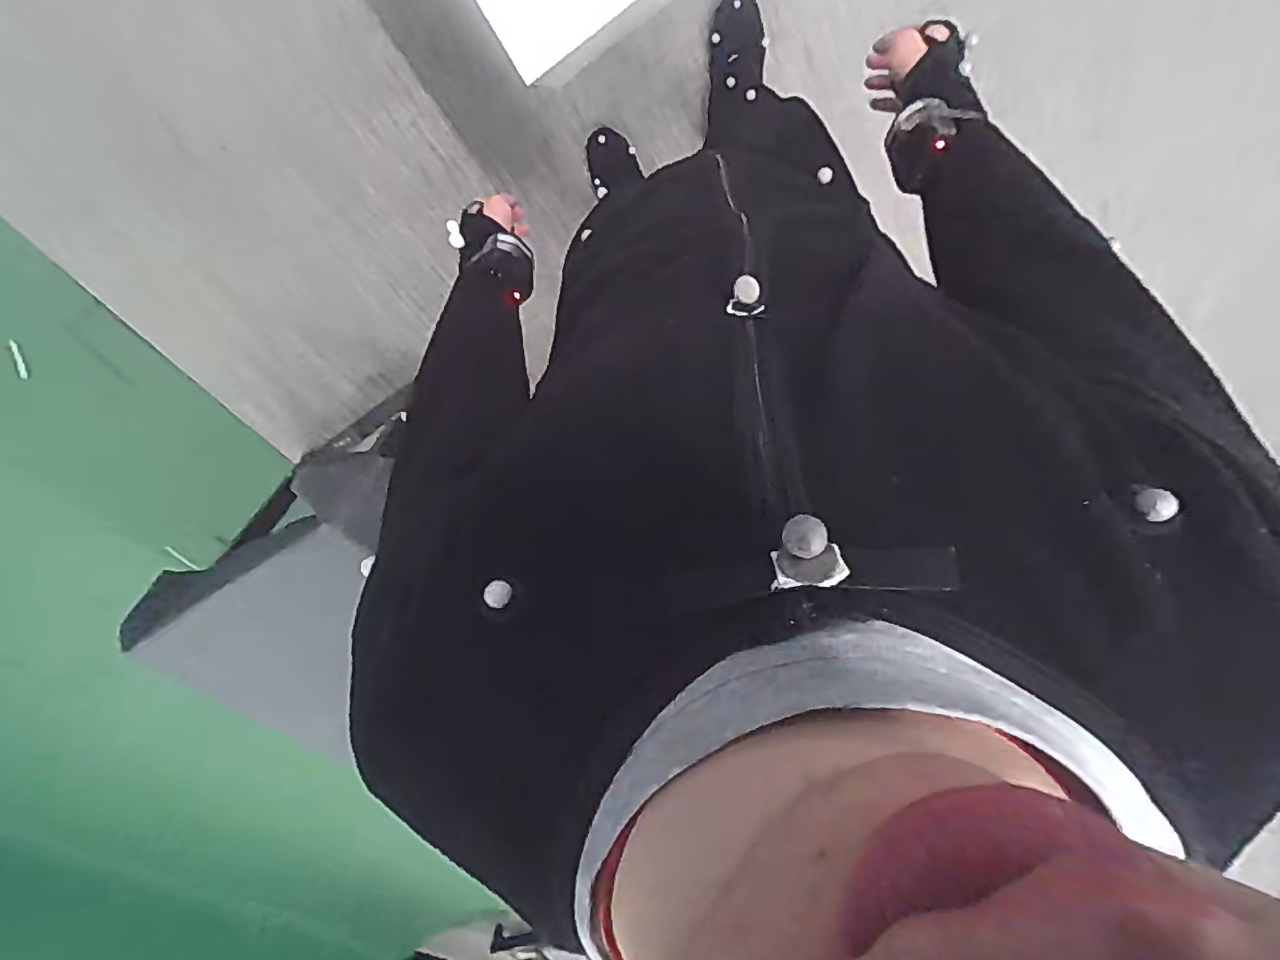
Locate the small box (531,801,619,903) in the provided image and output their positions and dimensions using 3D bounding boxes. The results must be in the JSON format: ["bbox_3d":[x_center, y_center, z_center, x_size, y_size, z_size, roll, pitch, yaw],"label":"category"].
[{"bbox_3d":[-0.170,0.996,1.457,0.168,0.176,0.179,-28,121,15],"label":"small box"}]
